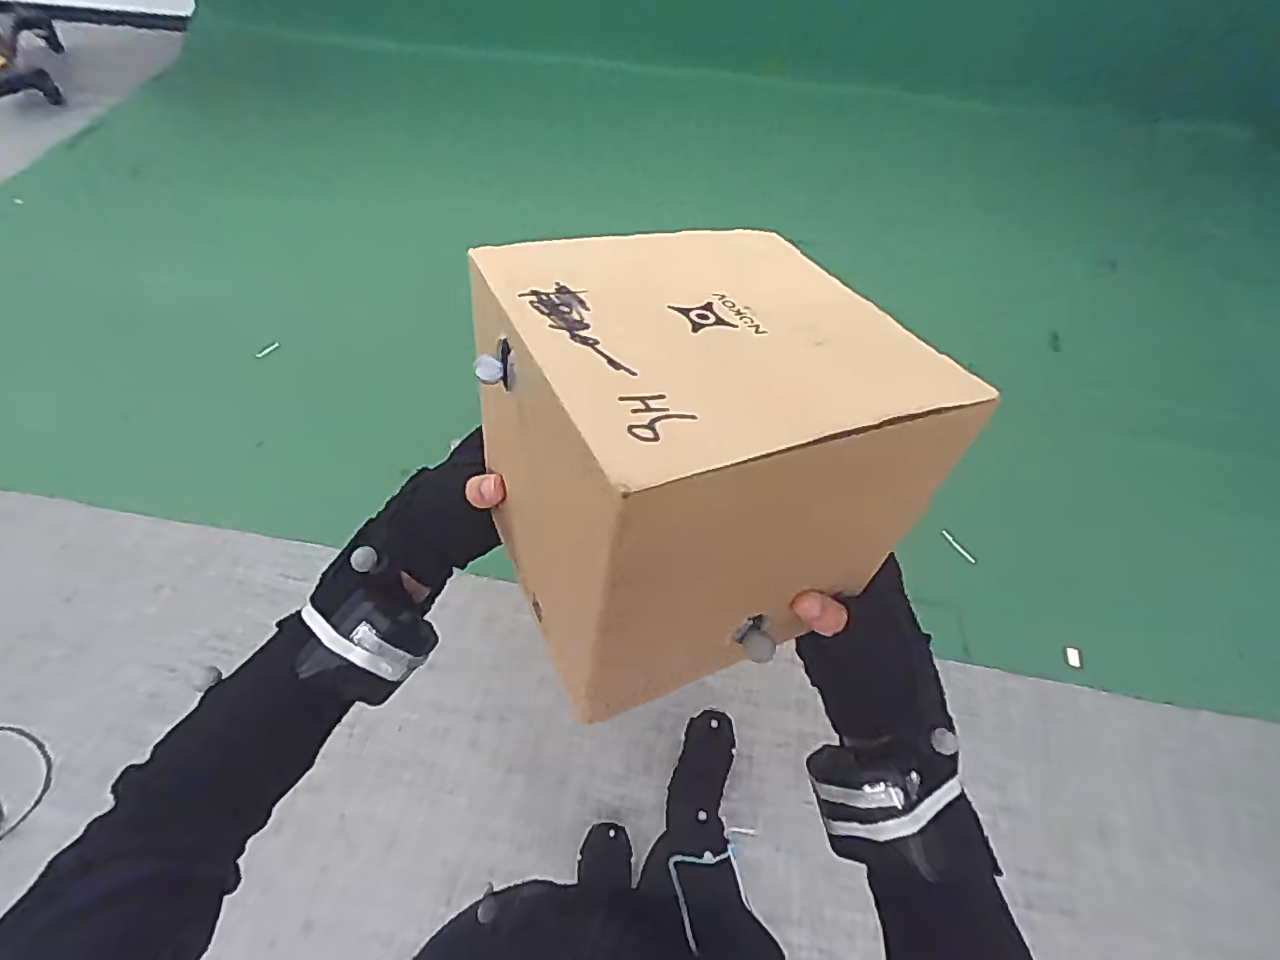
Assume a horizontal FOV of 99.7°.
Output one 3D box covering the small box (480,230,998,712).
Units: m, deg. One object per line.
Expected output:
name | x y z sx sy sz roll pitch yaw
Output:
small box | 0.023 -0.013 0.285 0.179 0.176 0.168 -13 48 -25
